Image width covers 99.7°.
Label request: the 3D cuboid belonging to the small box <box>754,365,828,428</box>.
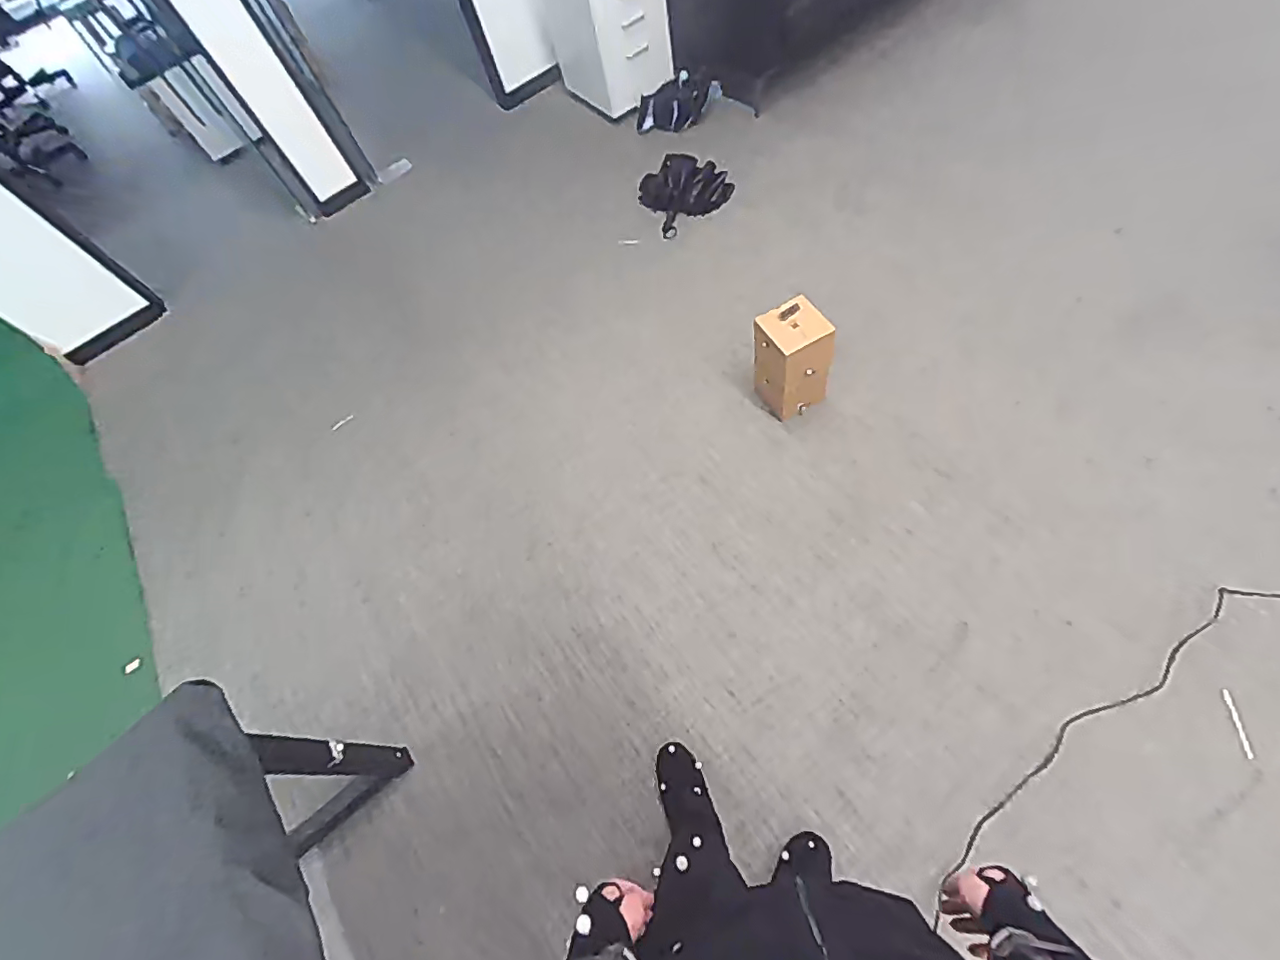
[{"bbox_3d":[0.490,-0.304,1.785,0.168,0.176,0.179,-28,60,-4],"label":"small box"}]

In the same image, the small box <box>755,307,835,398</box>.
[{"bbox_3d":[0.462,-0.384,1.644,0.168,0.176,0.179,-27,60,-3],"label":"small box"}]
